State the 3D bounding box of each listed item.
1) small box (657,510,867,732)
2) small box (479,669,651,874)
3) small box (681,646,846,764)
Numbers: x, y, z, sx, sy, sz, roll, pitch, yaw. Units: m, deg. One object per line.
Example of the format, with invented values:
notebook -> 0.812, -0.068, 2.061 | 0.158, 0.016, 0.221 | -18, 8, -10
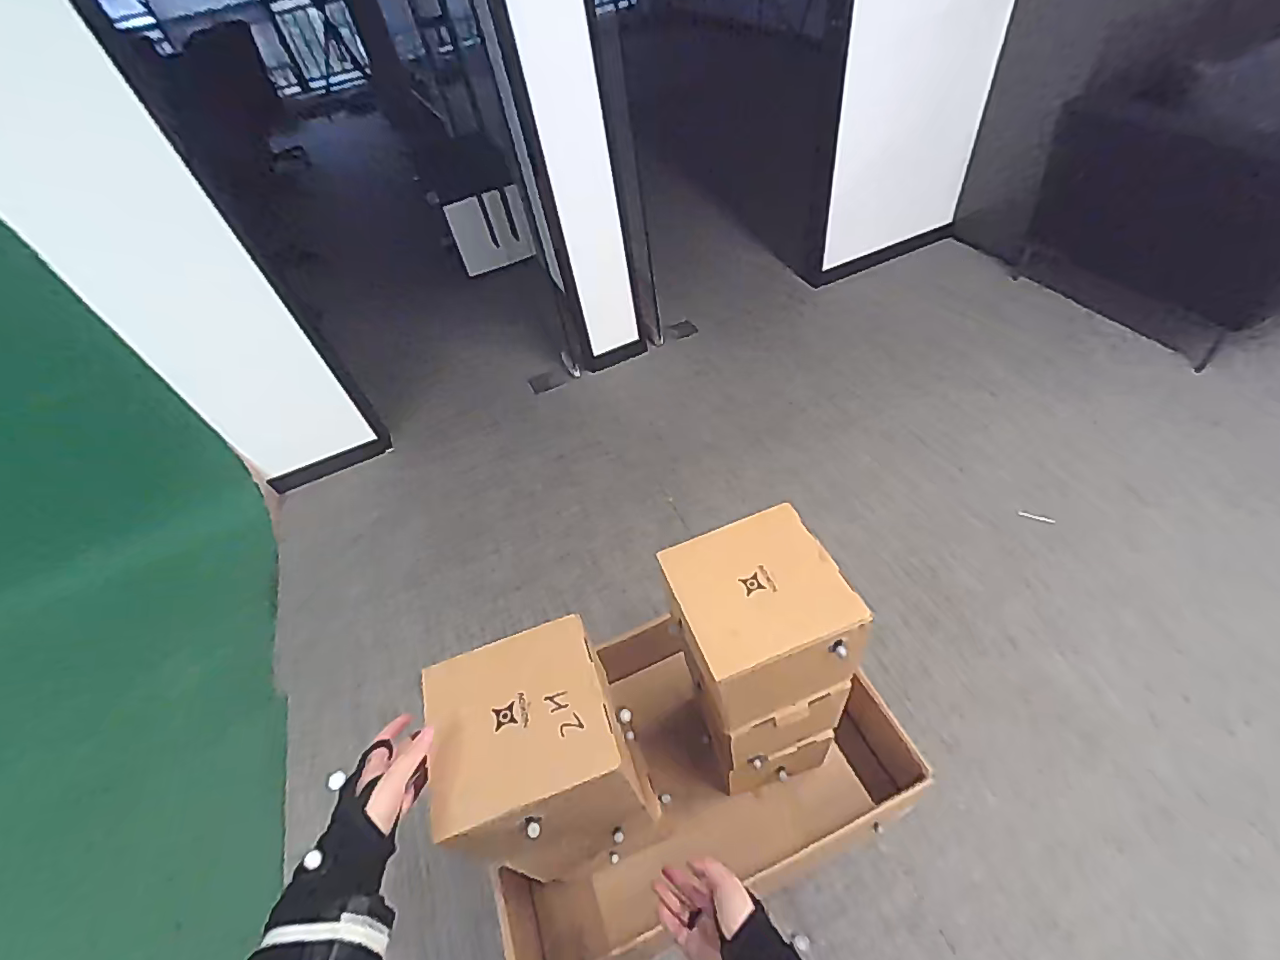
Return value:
small box -> 0.137, 0.171, 0.644 | 0.179, 0.176, 0.168 | -20, 48, -8
small box -> -0.093, 0.388, 0.712 | 0.168, 0.176, 0.179 | -20, 48, -9
small box -> 0.164, 0.277, 0.765 | 0.168, 0.176, 0.179 | -20, 48, -7
